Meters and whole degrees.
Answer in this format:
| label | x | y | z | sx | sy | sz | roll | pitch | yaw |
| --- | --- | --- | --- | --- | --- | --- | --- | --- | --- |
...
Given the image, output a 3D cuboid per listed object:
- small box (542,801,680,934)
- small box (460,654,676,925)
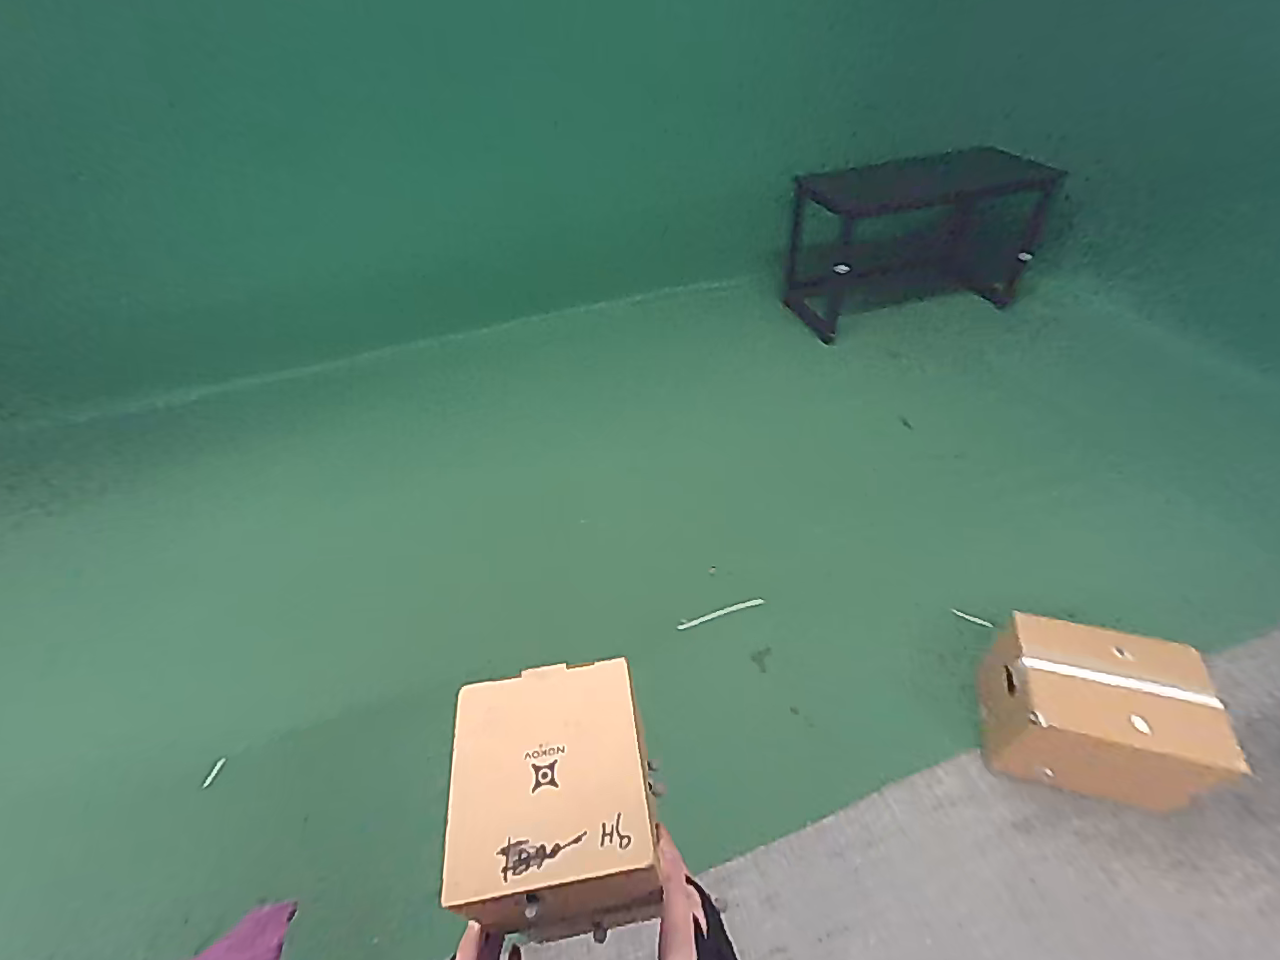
| label | x | y | z | sx | sy | sz | roll | pitch | yaw |
| --- | --- | --- | --- | --- | --- | --- | --- | --- | --- |
| small box | -0.050 | 0.409 | 0.647 | 0.168 | 0.176 | 0.179 | -10 | 45 | -3 |
| small box | -0.061 | 0.299 | 0.525 | 0.168 | 0.176 | 0.179 | -9 | 45 | -2 |
